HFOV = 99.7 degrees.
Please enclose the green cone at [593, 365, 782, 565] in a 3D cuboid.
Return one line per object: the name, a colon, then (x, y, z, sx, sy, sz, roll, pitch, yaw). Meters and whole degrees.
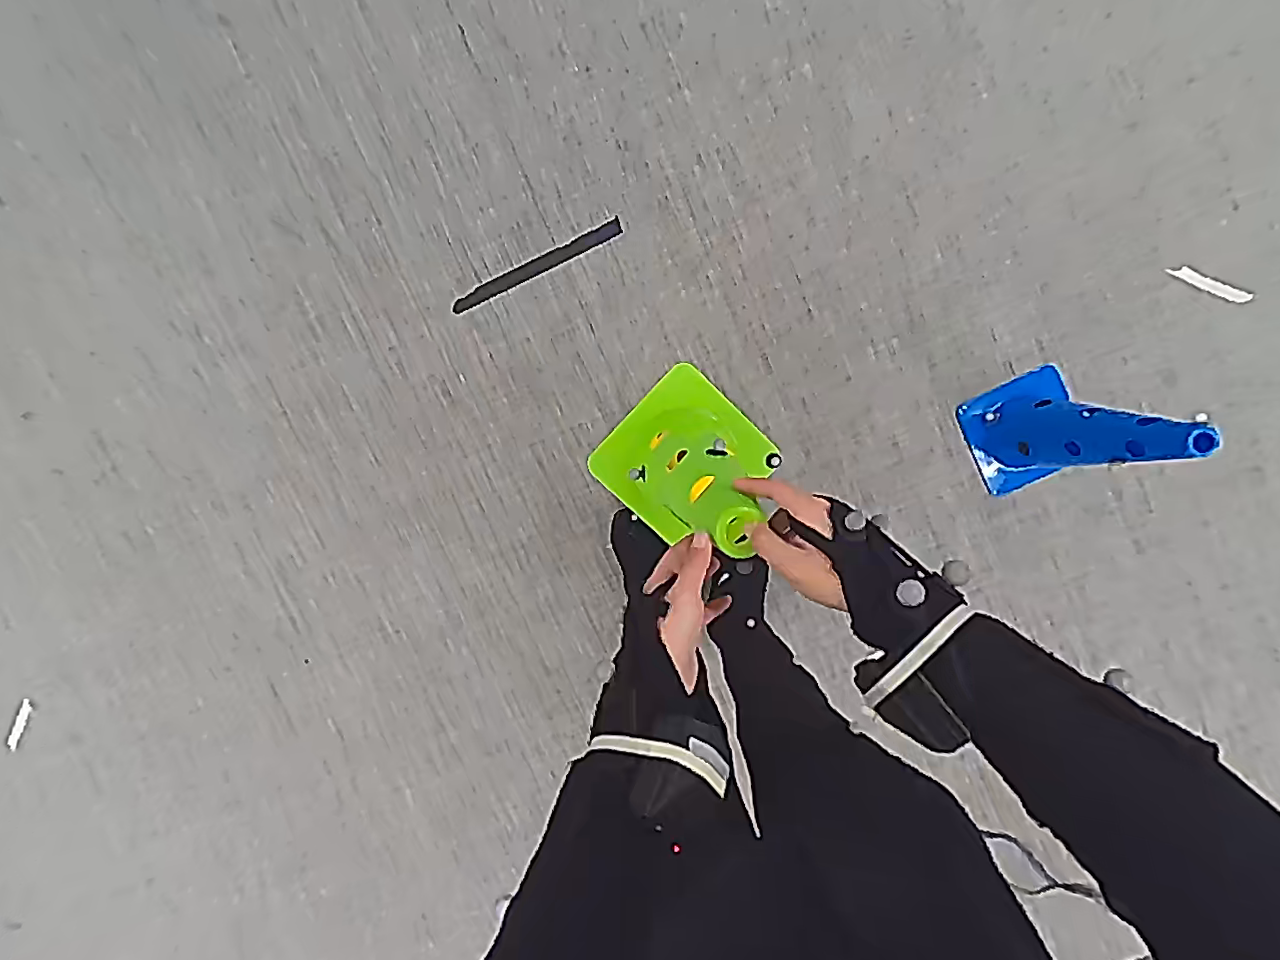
green cone: (0.066, 0.006, 0.566, 0.200, 0.368, 0.202, 42, 97, -7)
